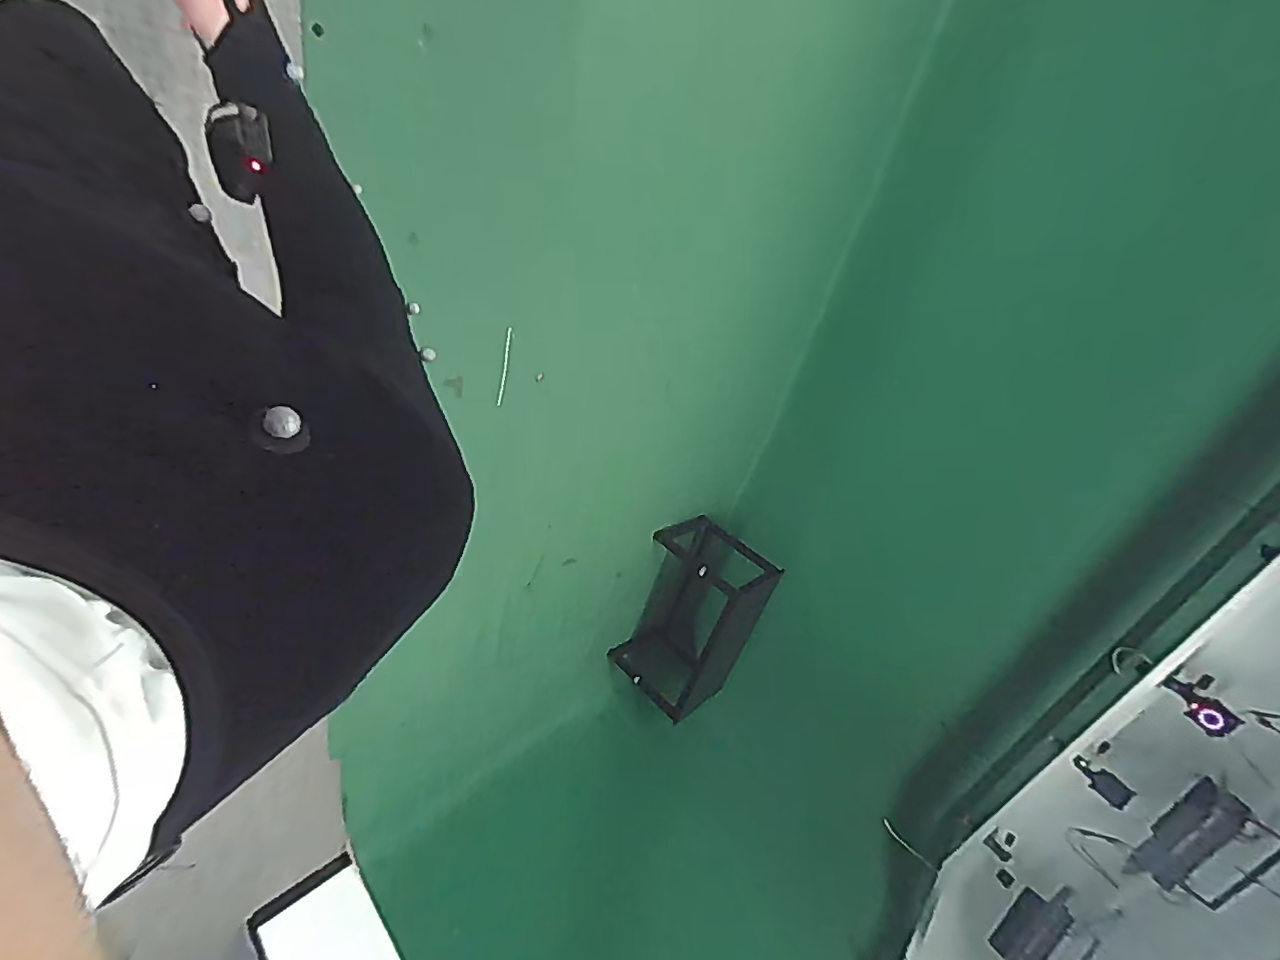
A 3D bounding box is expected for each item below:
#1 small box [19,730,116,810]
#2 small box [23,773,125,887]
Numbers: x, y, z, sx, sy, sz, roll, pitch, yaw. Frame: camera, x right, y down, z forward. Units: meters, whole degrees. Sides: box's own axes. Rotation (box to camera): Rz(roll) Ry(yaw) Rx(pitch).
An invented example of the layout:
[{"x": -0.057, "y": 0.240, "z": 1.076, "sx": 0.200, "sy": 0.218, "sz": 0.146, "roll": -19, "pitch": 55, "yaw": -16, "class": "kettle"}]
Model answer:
[{"x": -1.712, "y": 0.896, "z": 1.617, "sx": 0.179, "sy": 0.176, "sz": 0.168, "roll": -15, "pitch": 133, "yaw": -47, "class": "small box"}, {"x": -1.604, "y": 0.982, "z": 1.532, "sx": 0.179, "sy": 0.176, "sz": 0.168, "roll": -15, "pitch": 133, "yaw": -47, "class": "small box"}]
